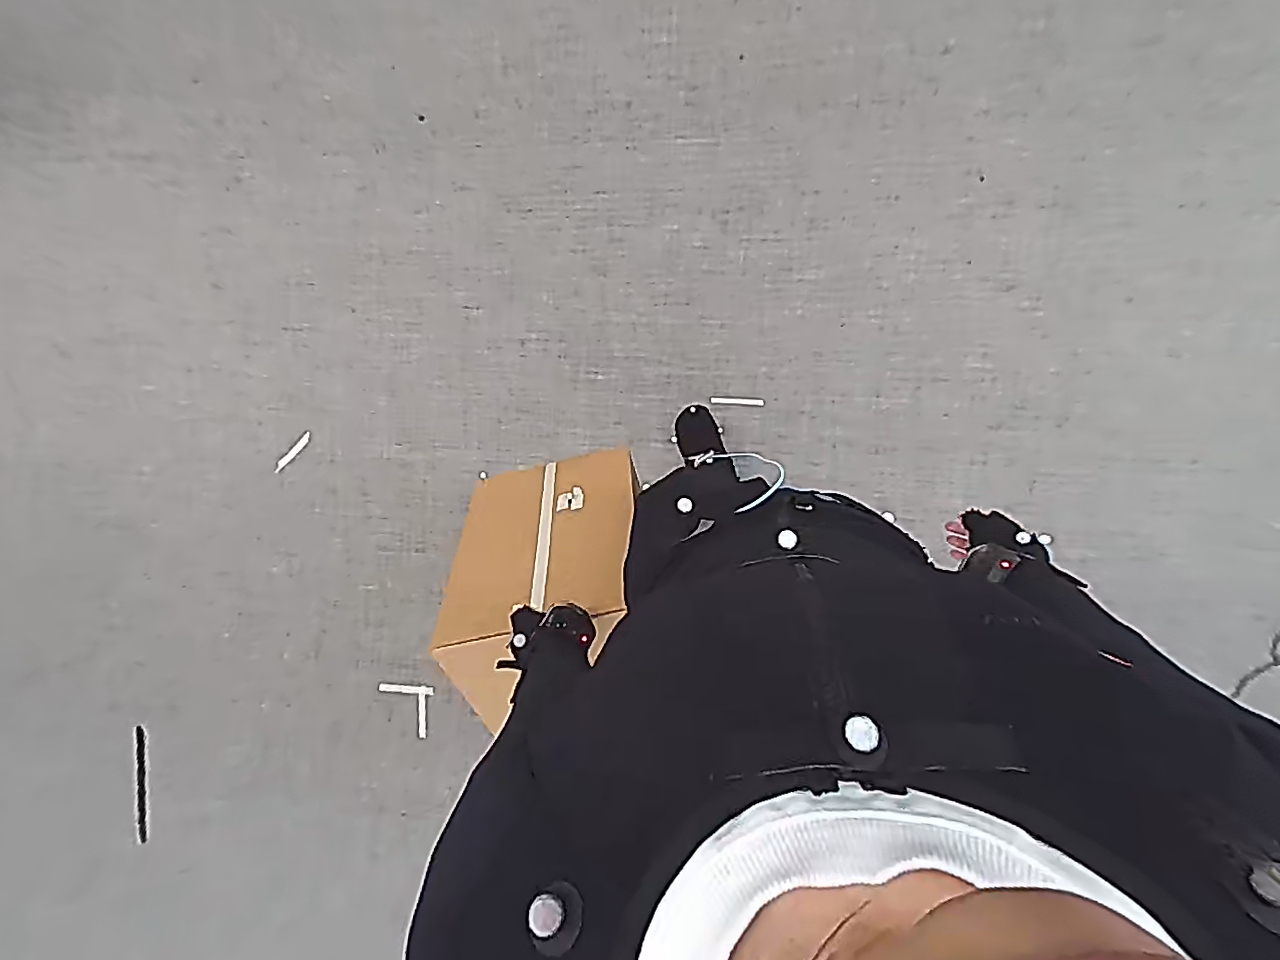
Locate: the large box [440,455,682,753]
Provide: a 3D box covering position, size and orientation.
[{"bbox_3d":[-0.123,0.215,1.005,0.320,0.408,0.320,-12,125,4],"label":"large box"}]
